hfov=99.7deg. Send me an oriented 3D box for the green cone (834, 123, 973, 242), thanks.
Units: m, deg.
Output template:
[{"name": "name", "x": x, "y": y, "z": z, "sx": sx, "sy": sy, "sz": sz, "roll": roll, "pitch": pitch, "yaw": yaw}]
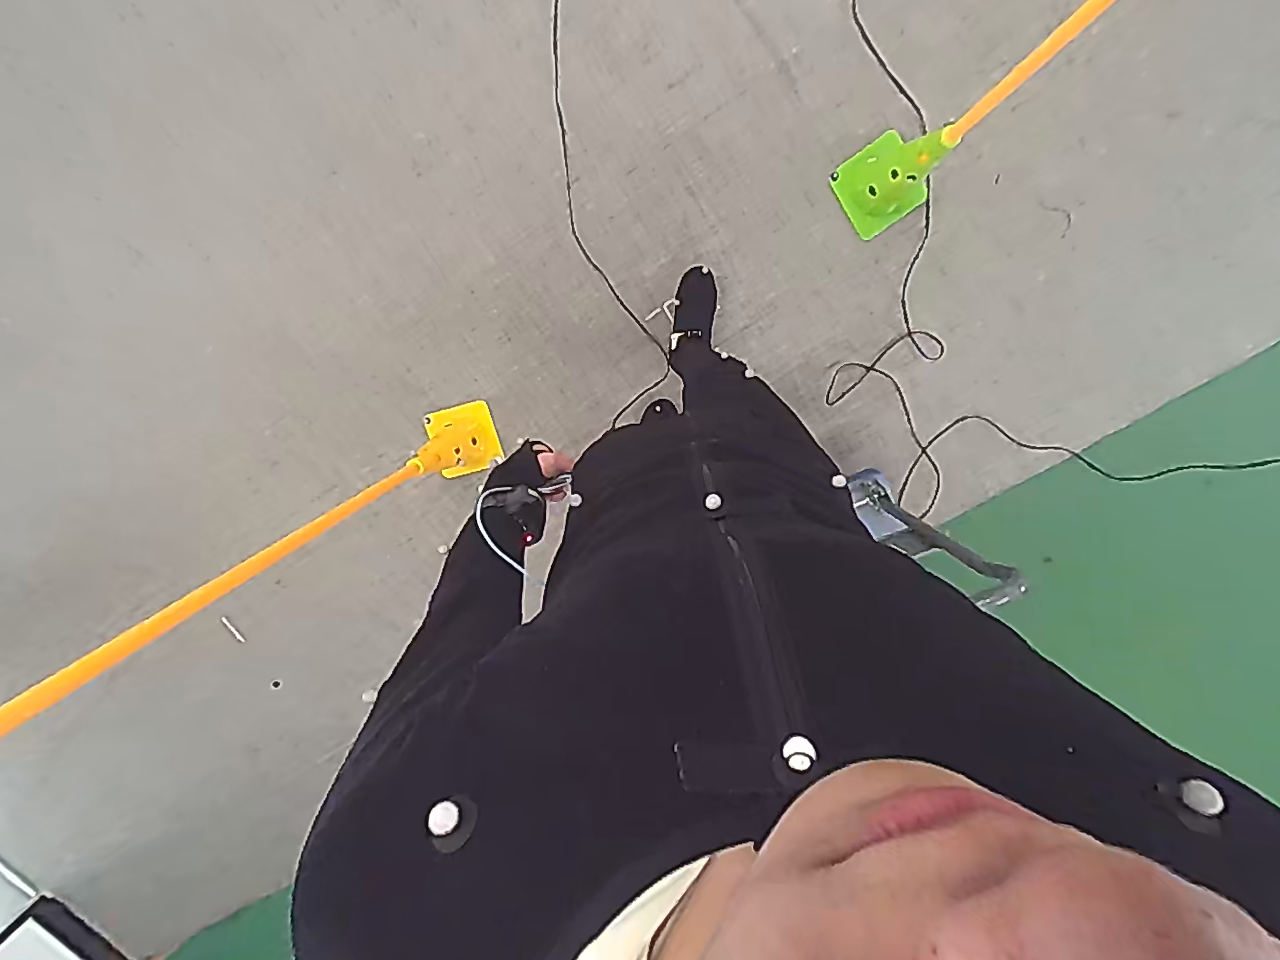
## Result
[{"name": "green cone", "x": 0.627, "y": -0.710, "z": 1.227, "sx": 0.202, "sy": 0.368, "sz": 0.200, "roll": -35, "pitch": 101, "yaw": 8}]
